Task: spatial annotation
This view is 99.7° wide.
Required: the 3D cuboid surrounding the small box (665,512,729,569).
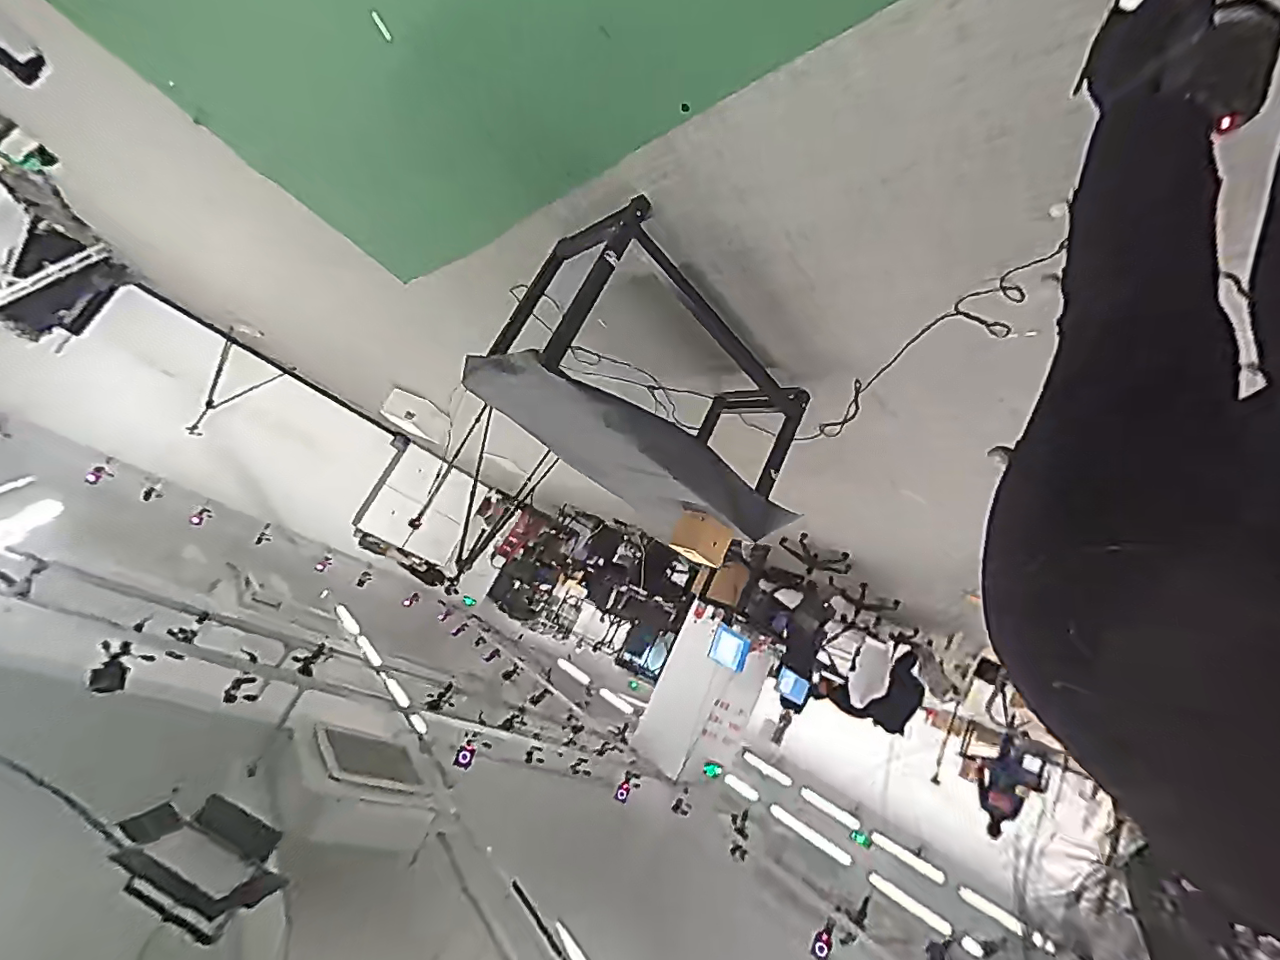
[{"bbox_3d":[0.241,0.248,2.264,0.179,0.176,0.168,36,163,-35],"label":"small box"}]
